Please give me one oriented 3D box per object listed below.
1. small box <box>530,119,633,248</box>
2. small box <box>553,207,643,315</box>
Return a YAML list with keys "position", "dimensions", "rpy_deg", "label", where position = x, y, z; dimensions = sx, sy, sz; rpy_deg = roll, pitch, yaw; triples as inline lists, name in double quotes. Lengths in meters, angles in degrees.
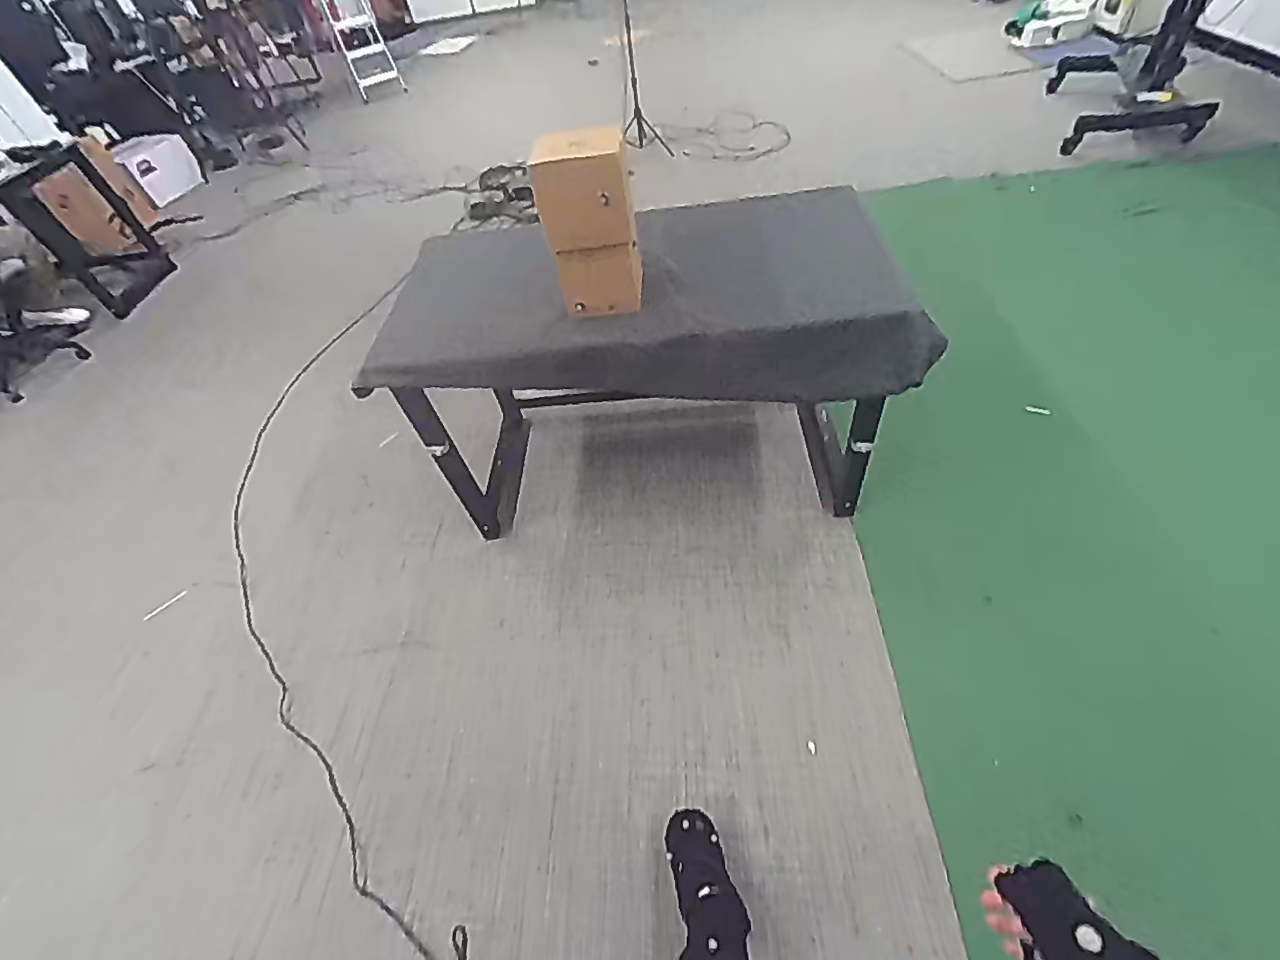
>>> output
- position: [-0.108, -0.587, 1.077]
  dimensions: [0.179, 0.176, 0.168]
  rpy_deg: [-7, 49, 3]
  label: "small box"
- position: [-0.086, -0.488, 1.224]
  dimensions: [0.168, 0.176, 0.179]
  rpy_deg: [-3, 49, 7]
  label: "small box"
